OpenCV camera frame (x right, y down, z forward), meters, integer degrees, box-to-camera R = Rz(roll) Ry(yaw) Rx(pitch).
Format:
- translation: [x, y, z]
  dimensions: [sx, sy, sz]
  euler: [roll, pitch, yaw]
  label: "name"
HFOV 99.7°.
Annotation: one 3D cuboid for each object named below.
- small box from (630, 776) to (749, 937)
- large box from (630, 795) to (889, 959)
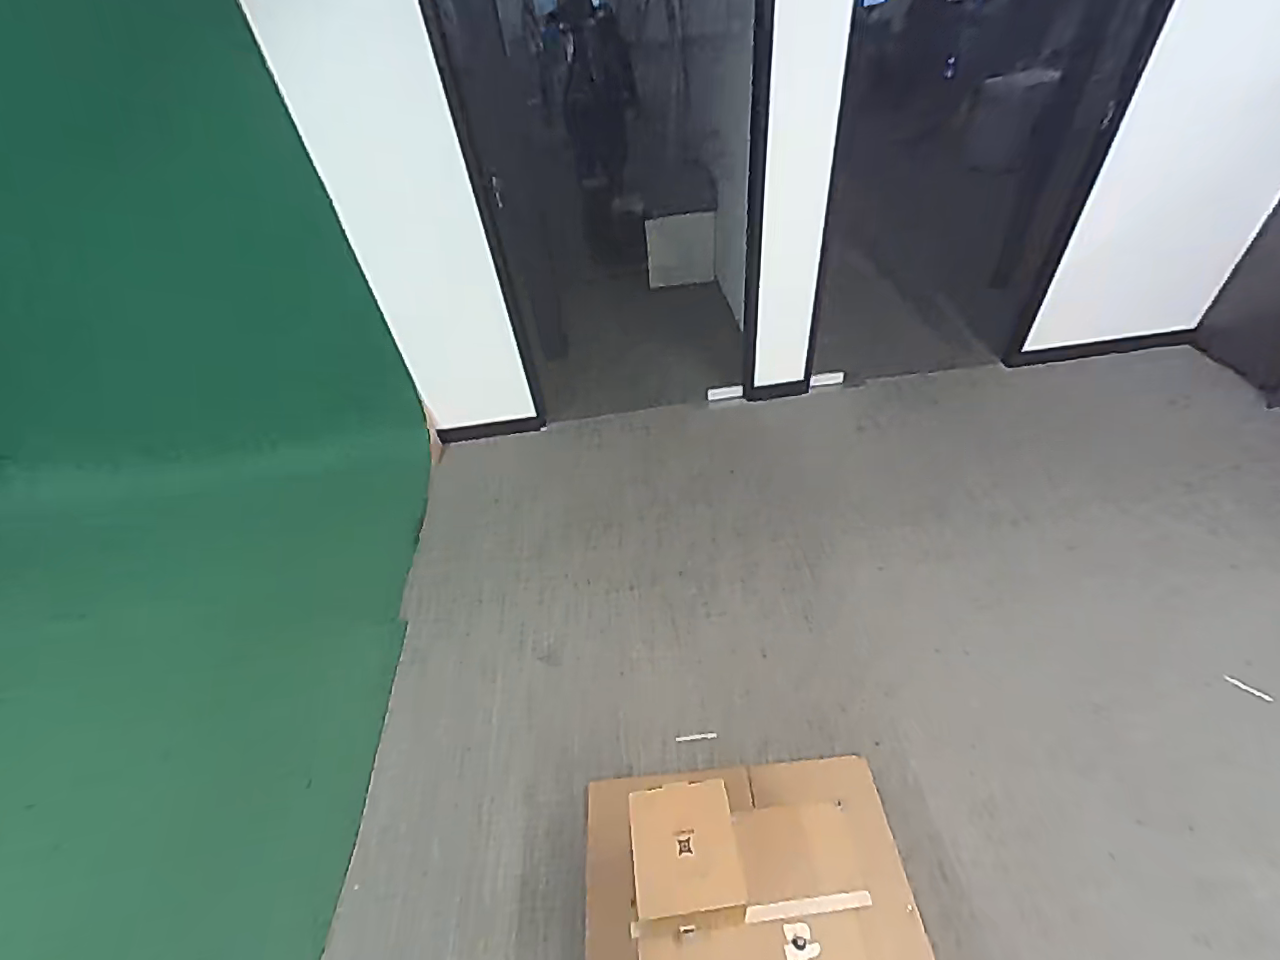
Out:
- translation: [0.077, 0.627, 0.903]
  dimensions: [0.168, 0.176, 0.179]
  euler: [-9, 43, -1]
  label: "small box"
- translation: [0.202, 0.838, 1.018]
  dimensions: [0.408, 0.320, 0.320]
  euler: [-7, 44, -1]
  label: "large box"
